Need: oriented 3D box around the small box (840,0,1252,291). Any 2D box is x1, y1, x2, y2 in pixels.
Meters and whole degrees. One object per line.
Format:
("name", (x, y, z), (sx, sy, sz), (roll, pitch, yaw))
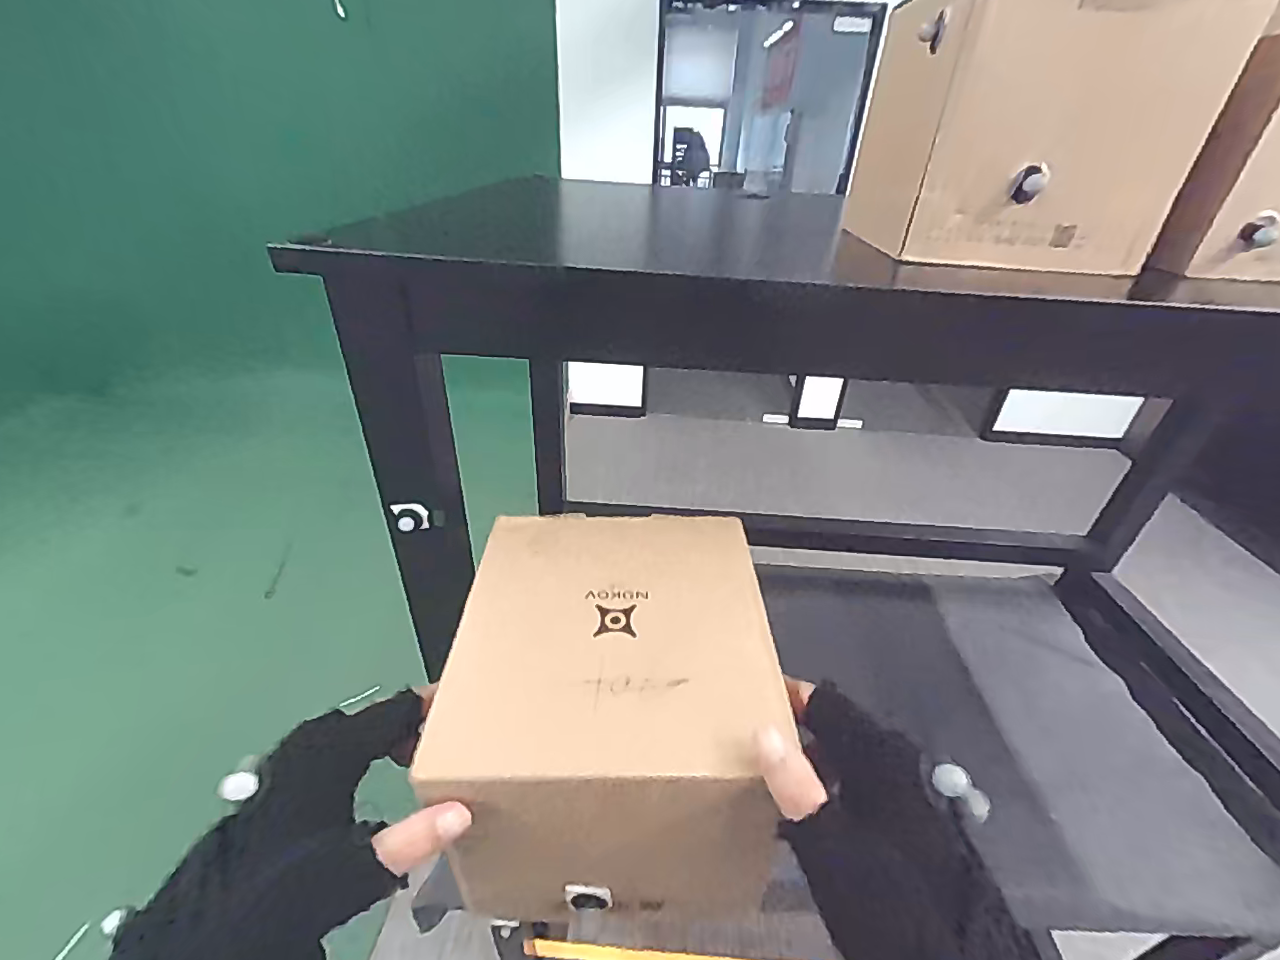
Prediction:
("small box", (0.274, -0.260, 0.426), (0.168, 0.176, 0.179), (5, 33, 2))
